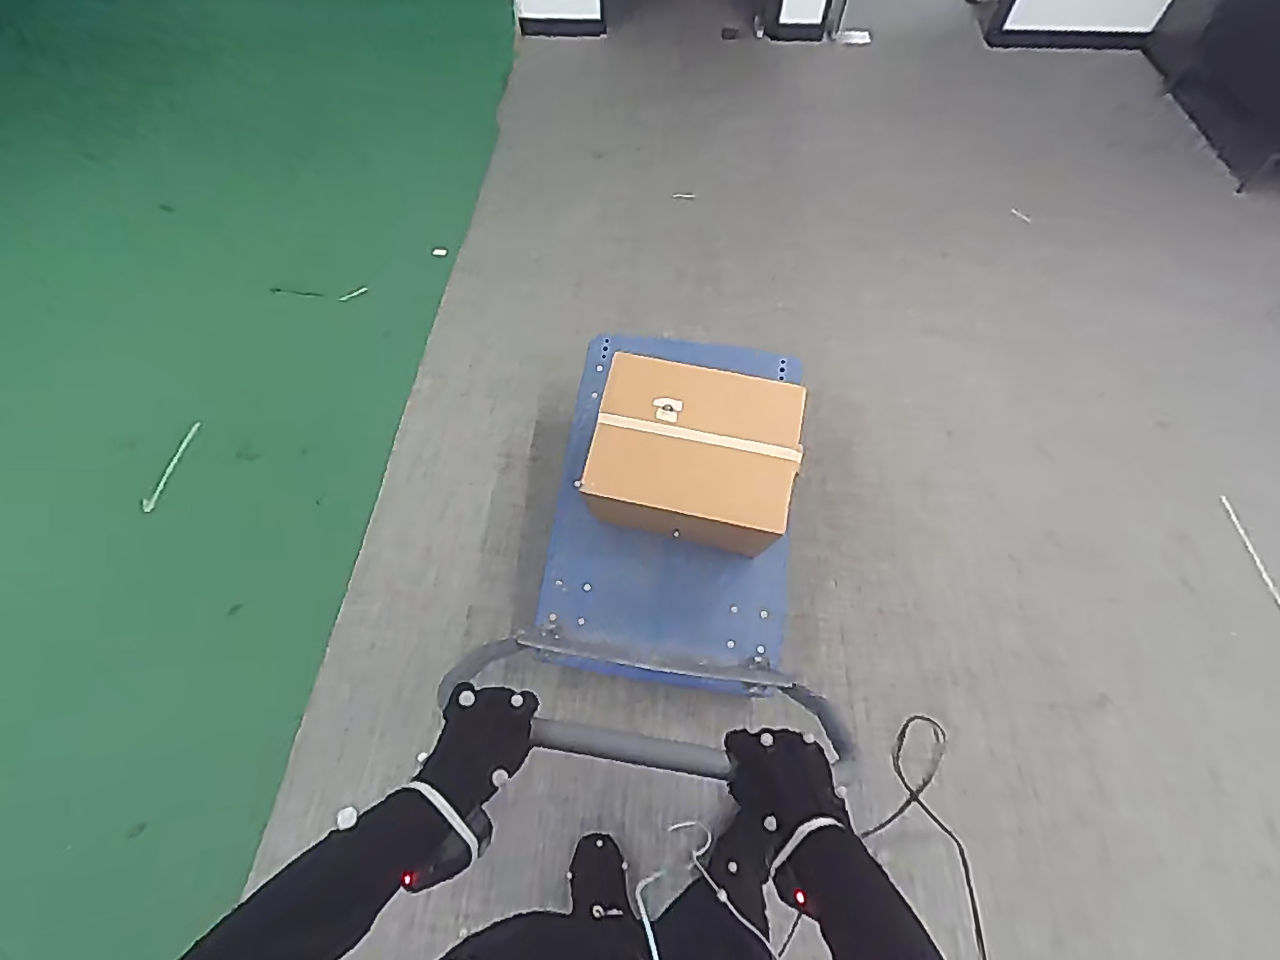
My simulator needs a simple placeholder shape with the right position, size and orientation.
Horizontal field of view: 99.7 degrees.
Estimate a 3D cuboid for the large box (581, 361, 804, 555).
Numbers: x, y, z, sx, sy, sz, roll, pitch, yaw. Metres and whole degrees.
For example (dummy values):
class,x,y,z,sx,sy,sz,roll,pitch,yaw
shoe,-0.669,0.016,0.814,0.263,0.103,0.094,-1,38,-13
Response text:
class,x,y,z,sx,sy,sz,roll,pitch,yaw
large box,0.119,-0.032,1.217,0.408,0.320,0.320,12,75,6
